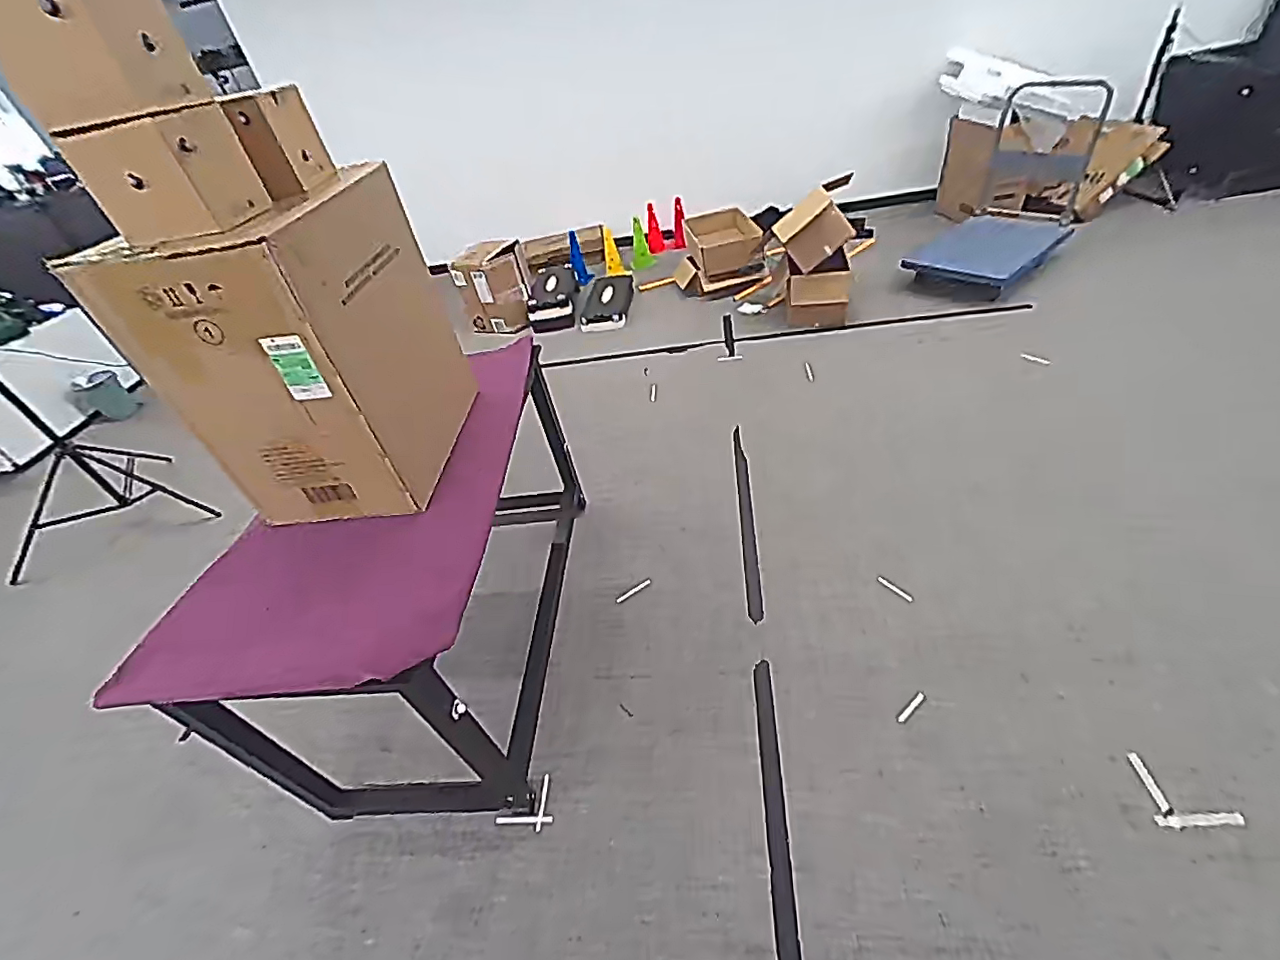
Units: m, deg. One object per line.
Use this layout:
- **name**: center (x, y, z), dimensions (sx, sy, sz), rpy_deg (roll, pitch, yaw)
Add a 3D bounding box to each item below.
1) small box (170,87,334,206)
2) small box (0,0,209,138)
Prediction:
- **small box**: center (-0.772, -0.675, 1.100), dimensions (0.179, 0.176, 0.168), rpy_deg (-7, 42, 5)
- **small box**: center (-0.805, -0.629, 0.800), dimensions (0.179, 0.176, 0.168), rpy_deg (-9, 39, 4)
